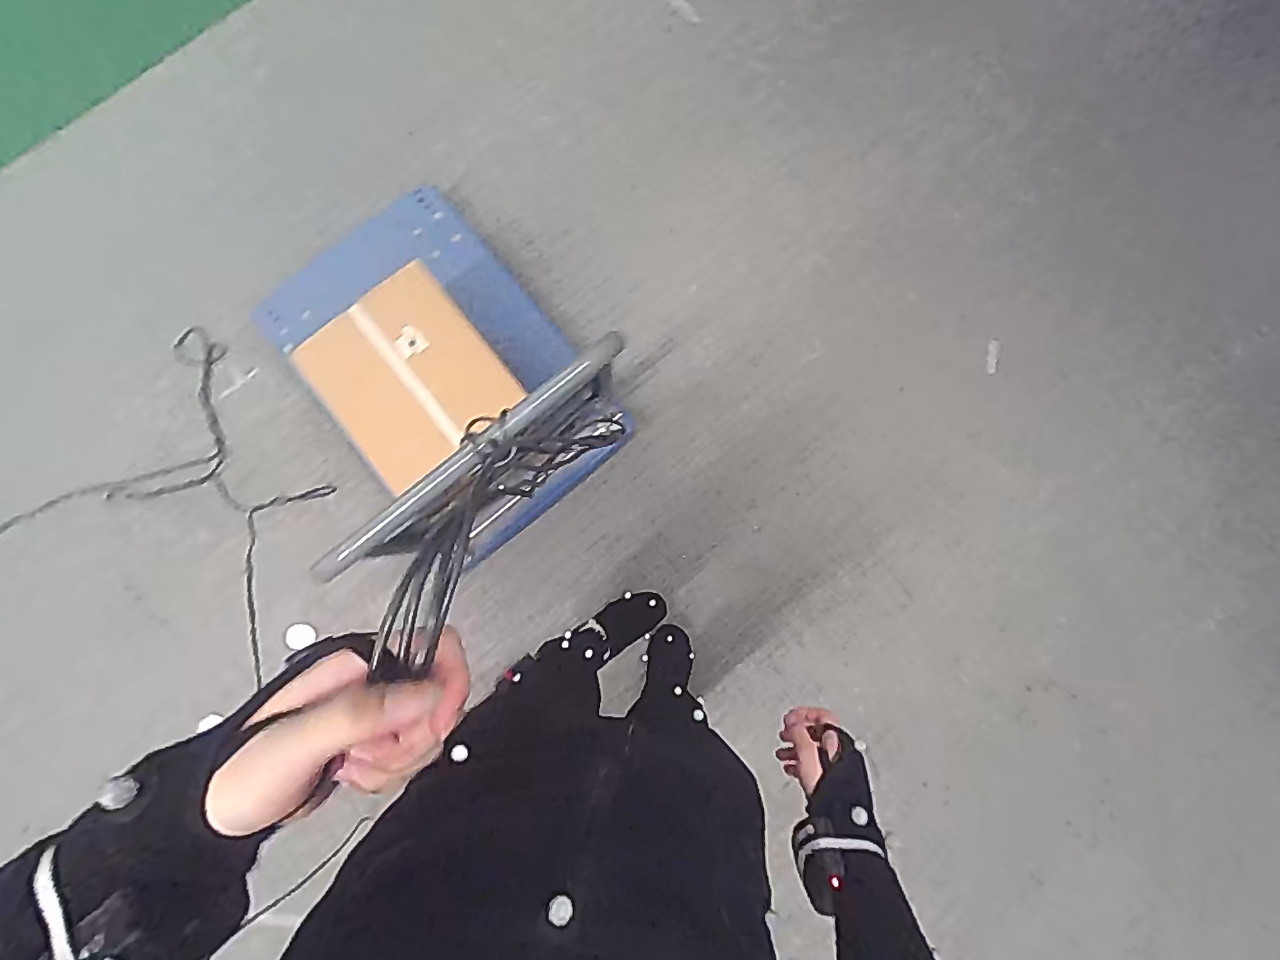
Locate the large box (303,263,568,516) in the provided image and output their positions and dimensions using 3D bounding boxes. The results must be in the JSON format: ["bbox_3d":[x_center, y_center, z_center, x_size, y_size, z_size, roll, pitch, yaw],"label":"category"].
[{"bbox_3d":[-0.416,-0.171,1.194,0.320,0.320,0.408,-38,84,-5],"label":"large box"}]
